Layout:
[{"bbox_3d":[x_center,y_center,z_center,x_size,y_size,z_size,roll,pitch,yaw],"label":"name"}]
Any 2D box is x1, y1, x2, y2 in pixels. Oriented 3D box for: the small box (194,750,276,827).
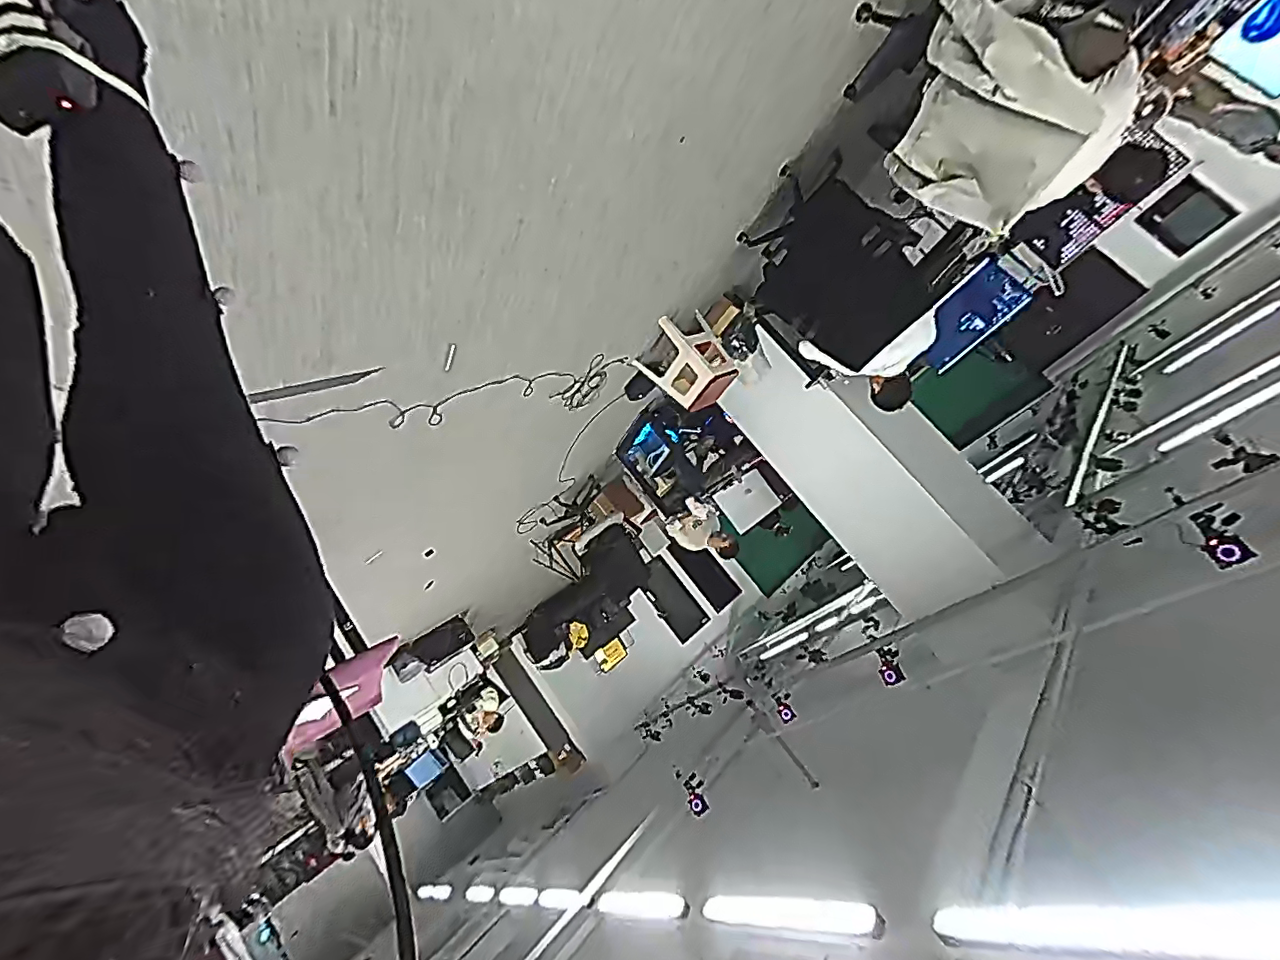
[{"bbox_3d":[-1.453,1.102,1.936,0.179,0.176,0.168,-31,166,-31],"label":"small box"}]
